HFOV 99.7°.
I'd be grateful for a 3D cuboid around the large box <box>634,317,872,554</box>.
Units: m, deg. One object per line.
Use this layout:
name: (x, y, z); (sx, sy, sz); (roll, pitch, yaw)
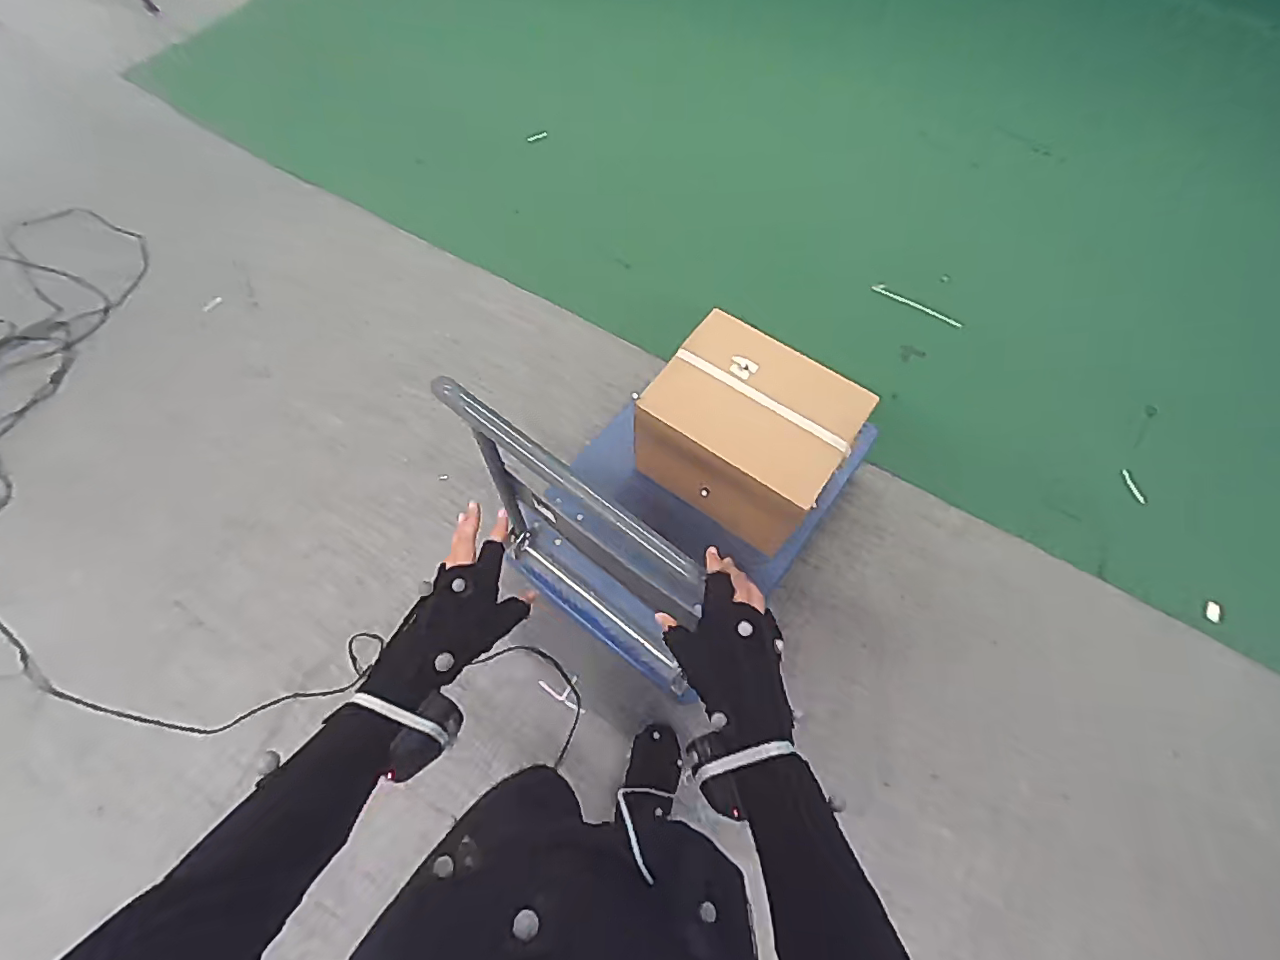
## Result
large box: (0.237, -0.091, 1.248); (0.408, 0.320, 0.320); (33, 68, 15)
